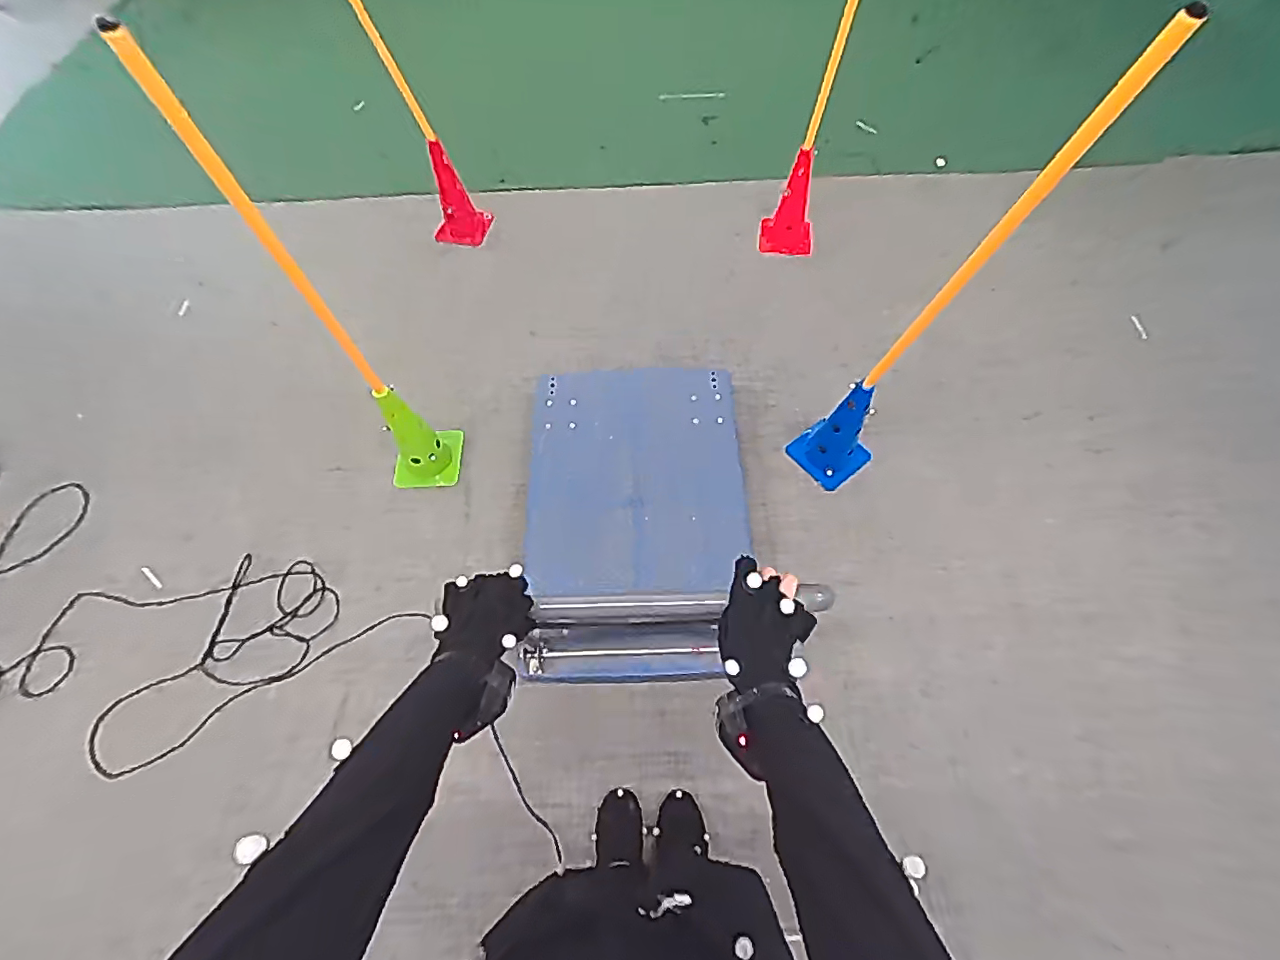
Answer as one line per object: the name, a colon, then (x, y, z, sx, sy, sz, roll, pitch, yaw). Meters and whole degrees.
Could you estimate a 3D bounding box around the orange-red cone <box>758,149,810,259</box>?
orange-red cone: (0.560, -1.019, 1.971, 0.198, 0.360, 0.199, 8, 64, 7)
